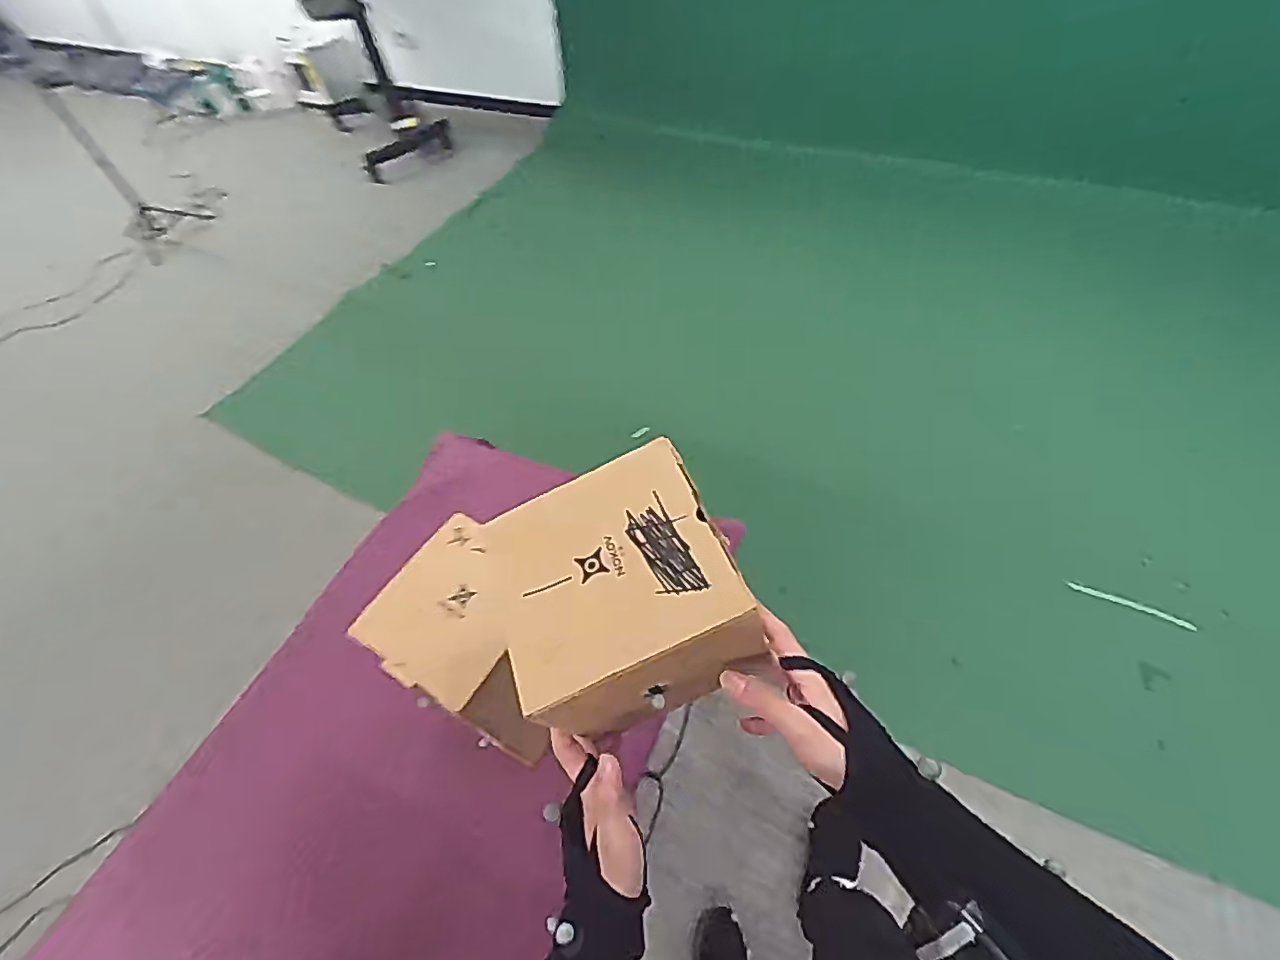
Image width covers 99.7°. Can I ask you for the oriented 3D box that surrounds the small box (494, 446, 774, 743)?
[{"bbox_3d":[0.002,0.107,0.468,0.179,0.176,0.168,-25,55,2],"label":"small box"}]

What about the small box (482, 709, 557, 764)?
[{"bbox_3d":[-0.179,0.276,0.777,0.168,0.176,0.179,28,62,22],"label":"small box"}]

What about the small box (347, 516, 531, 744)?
[{"bbox_3d":[-0.191,0.182,0.642,0.168,0.176,0.179,26,61,22],"label":"small box"}]
